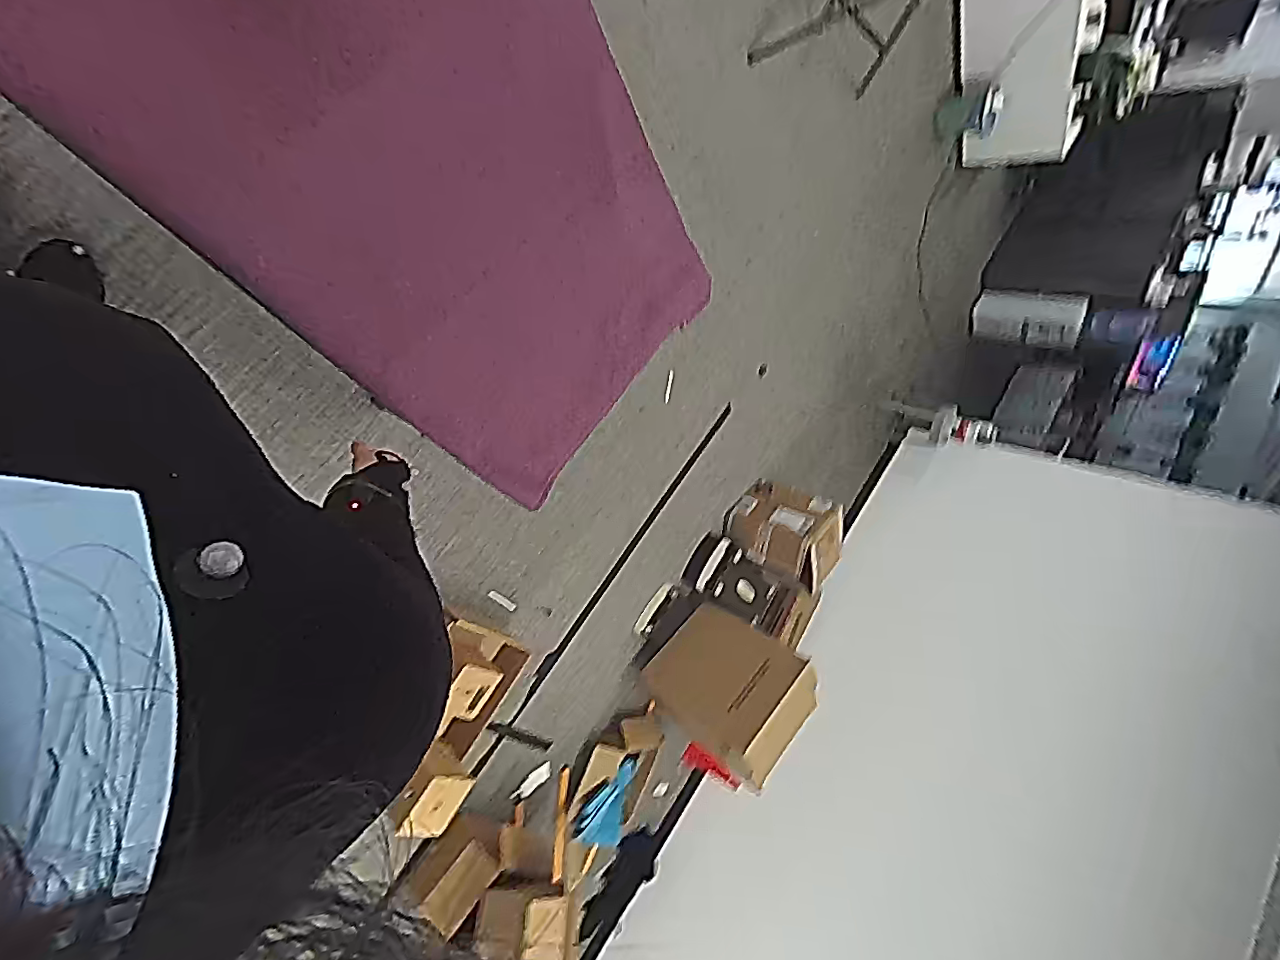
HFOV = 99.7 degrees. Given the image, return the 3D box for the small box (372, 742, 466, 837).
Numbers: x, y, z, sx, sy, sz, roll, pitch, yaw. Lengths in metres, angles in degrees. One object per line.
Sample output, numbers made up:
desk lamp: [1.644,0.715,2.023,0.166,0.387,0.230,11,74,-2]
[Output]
small box: [-0.662,0.916,1.600,0.179,0.176,0.168,-57,139,-13]

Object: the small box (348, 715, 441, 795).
small box: [-0.777,0.871,1.706,0.168,0.176,0.179,-56,140,-12]
